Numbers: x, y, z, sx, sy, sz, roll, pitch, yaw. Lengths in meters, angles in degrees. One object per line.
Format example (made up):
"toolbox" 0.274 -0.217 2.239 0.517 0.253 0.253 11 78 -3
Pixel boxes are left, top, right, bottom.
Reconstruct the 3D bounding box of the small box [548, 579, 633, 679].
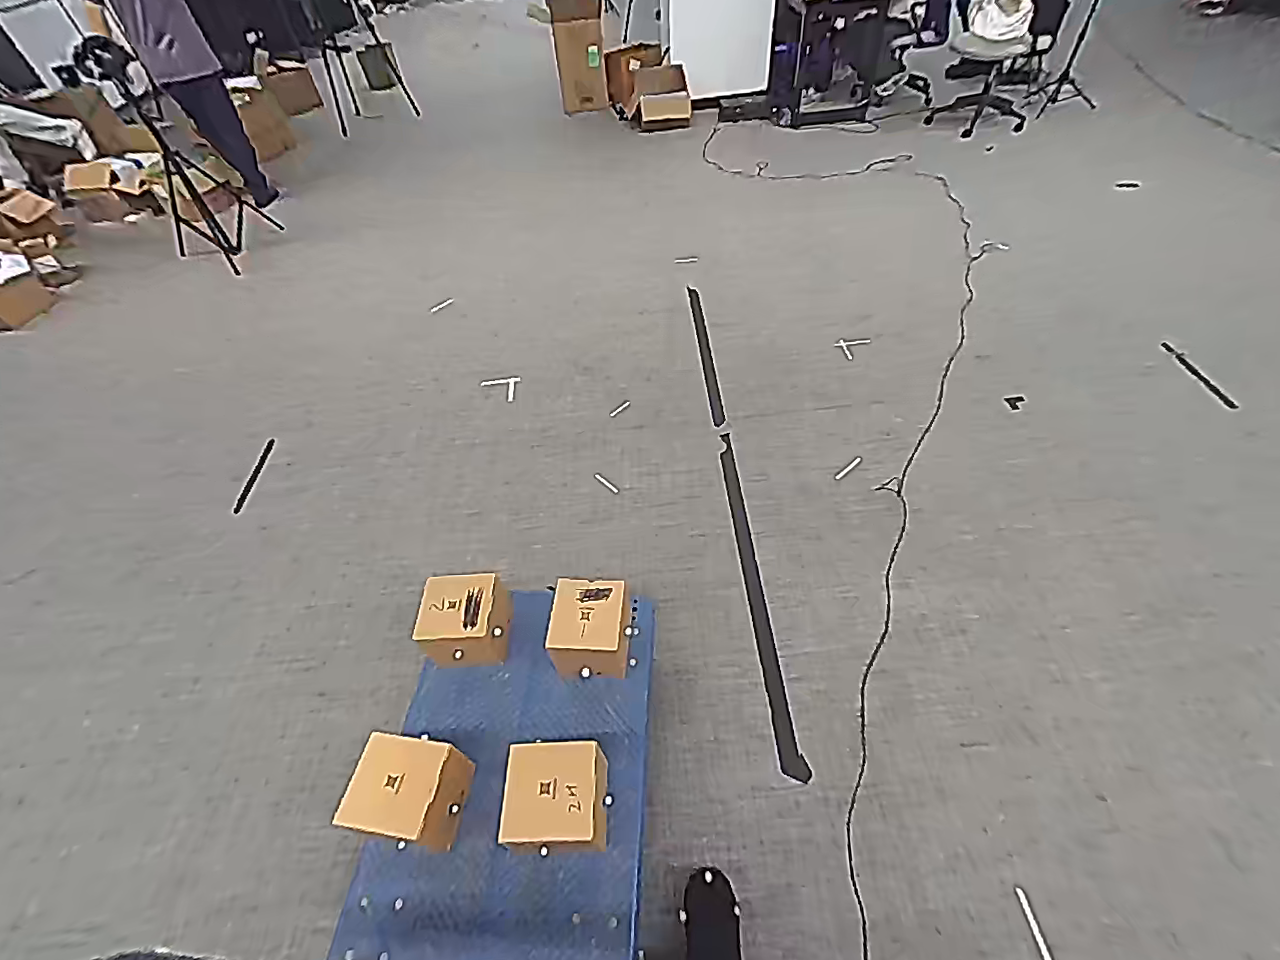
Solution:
"small box" -0.110 0.359 1.301 0.168 0.176 0.179 1 51 7

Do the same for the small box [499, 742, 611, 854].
"small box" -0.158 0.632 1.071 0.179 0.176 0.168 -4 49 4

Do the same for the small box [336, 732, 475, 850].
"small box" -0.465 0.636 1.102 0.179 0.176 0.168 5 49 8
